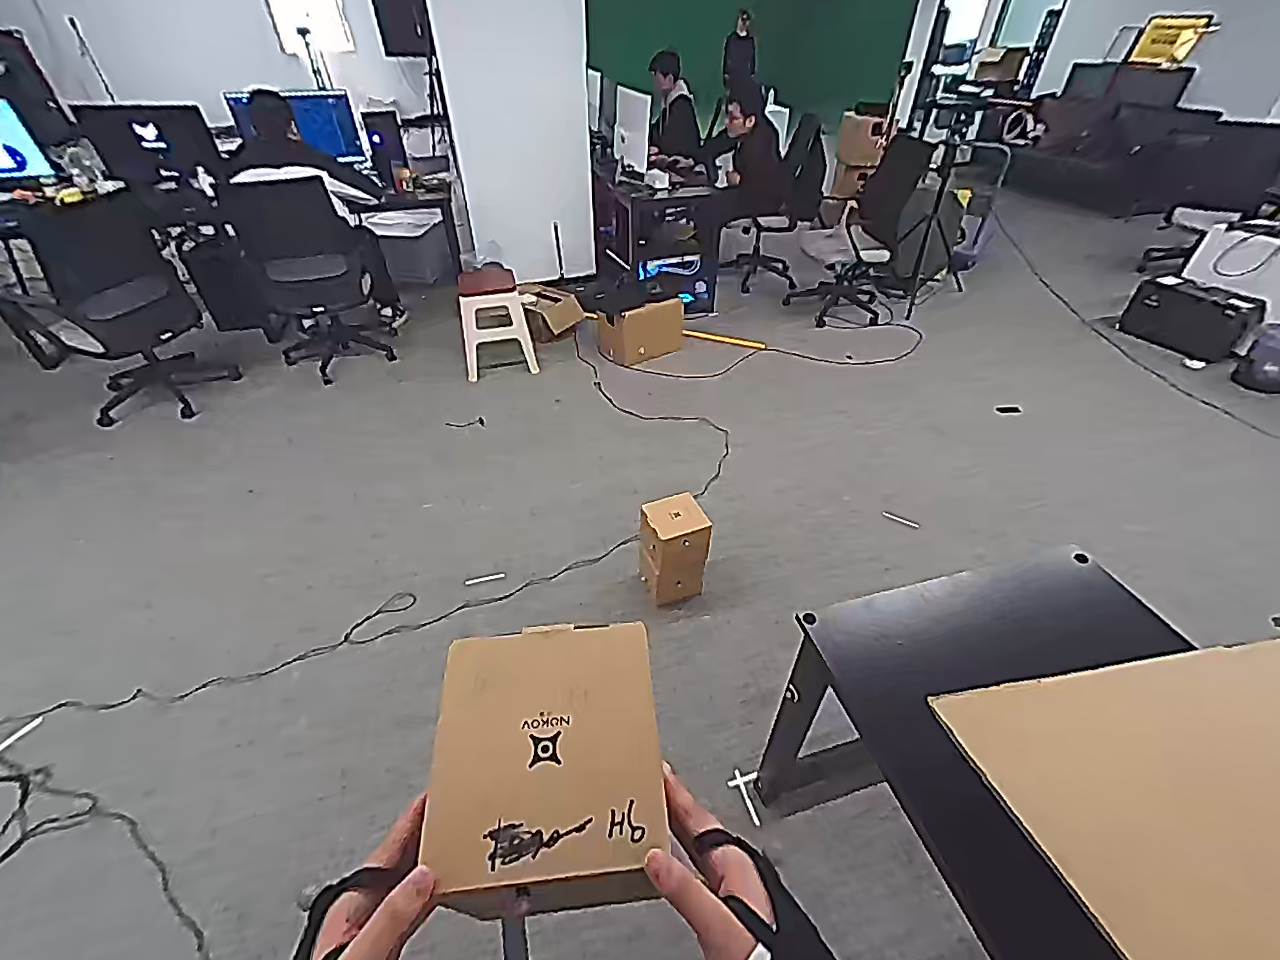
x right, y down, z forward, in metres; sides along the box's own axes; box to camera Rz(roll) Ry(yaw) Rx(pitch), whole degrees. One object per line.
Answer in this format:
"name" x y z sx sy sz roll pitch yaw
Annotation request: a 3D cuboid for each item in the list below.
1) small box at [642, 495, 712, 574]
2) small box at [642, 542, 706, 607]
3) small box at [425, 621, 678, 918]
"small box" 0.115 0.181 1.755 0.179 0.176 0.168 -15 43 -18
"small box" 0.110 0.307 1.857 0.179 0.176 0.168 -14 42 -14
"small box" -0.063 0.245 0.462 0.168 0.176 0.179 -5 46 -3
